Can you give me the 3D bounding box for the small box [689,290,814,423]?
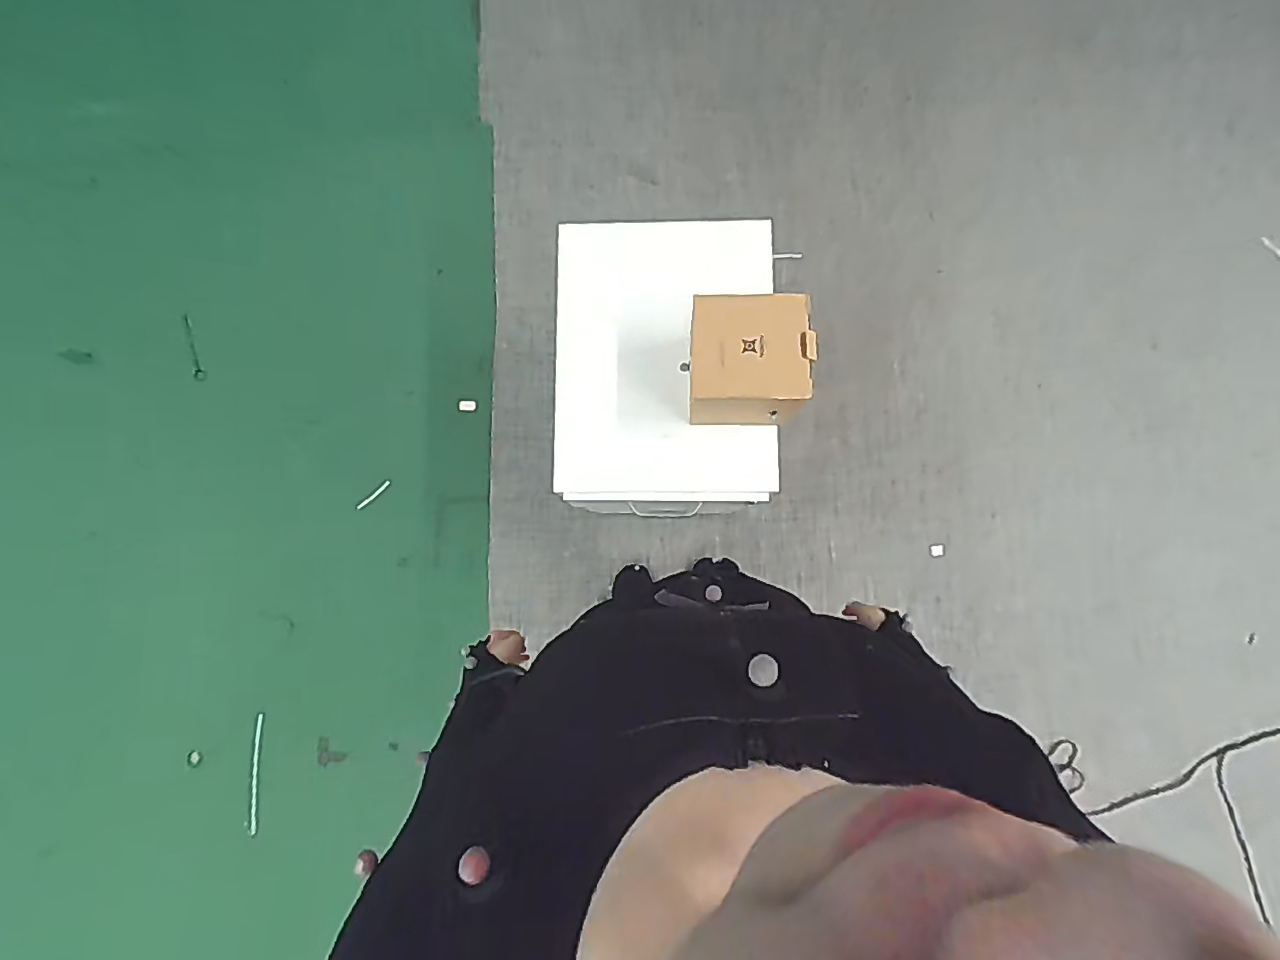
[{"bbox_3d":[0.172,-0.192,0.877,0.179,0.176,0.168,0,82,4],"label":"small box"}]
